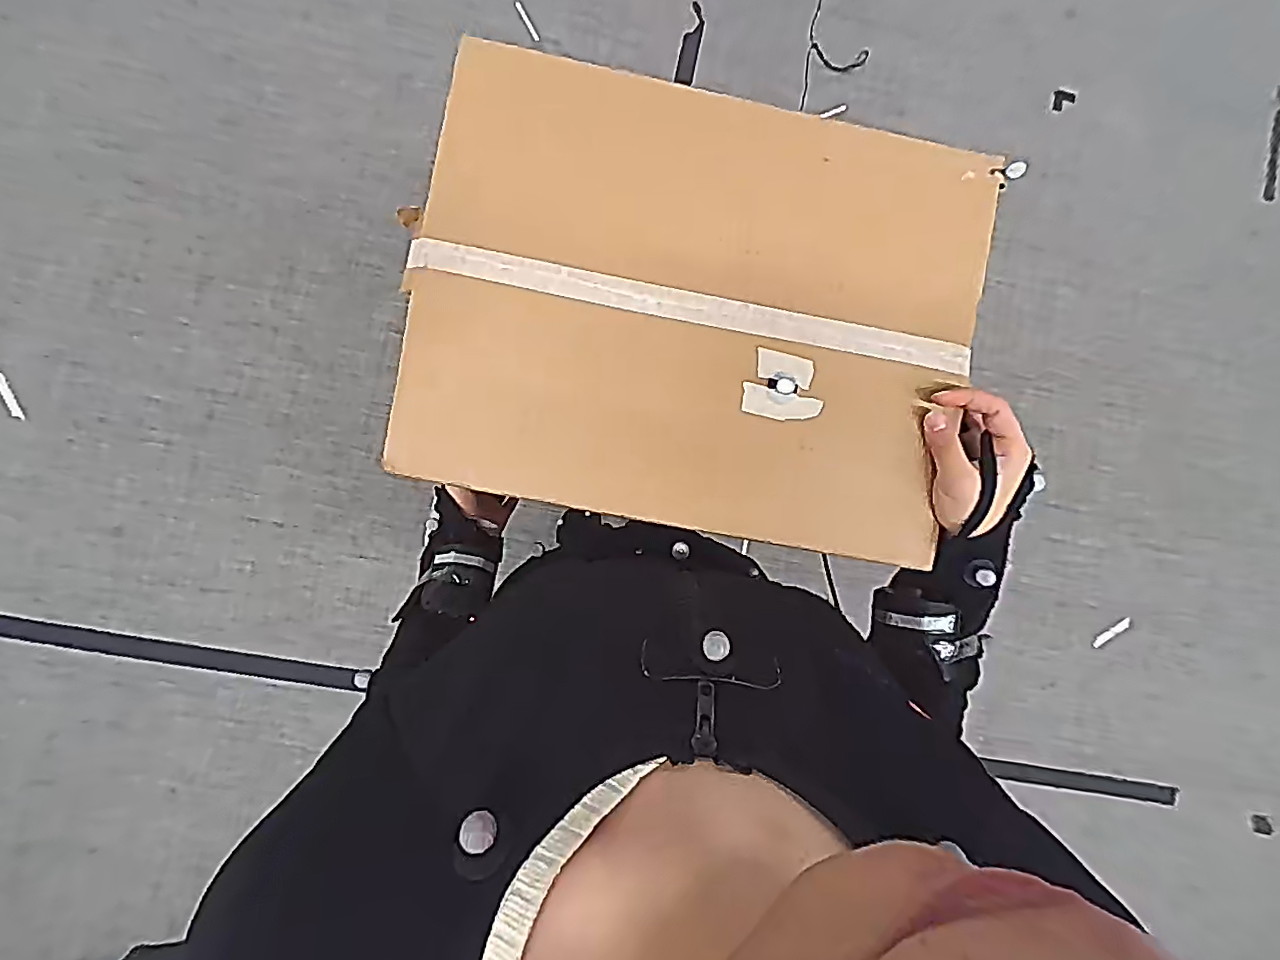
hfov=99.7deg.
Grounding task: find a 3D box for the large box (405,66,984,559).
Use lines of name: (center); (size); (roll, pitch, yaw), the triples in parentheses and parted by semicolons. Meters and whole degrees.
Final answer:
large box: (0.036, -0.119, 0.548); (0.408, 0.320, 0.320); (10, 90, -4)
